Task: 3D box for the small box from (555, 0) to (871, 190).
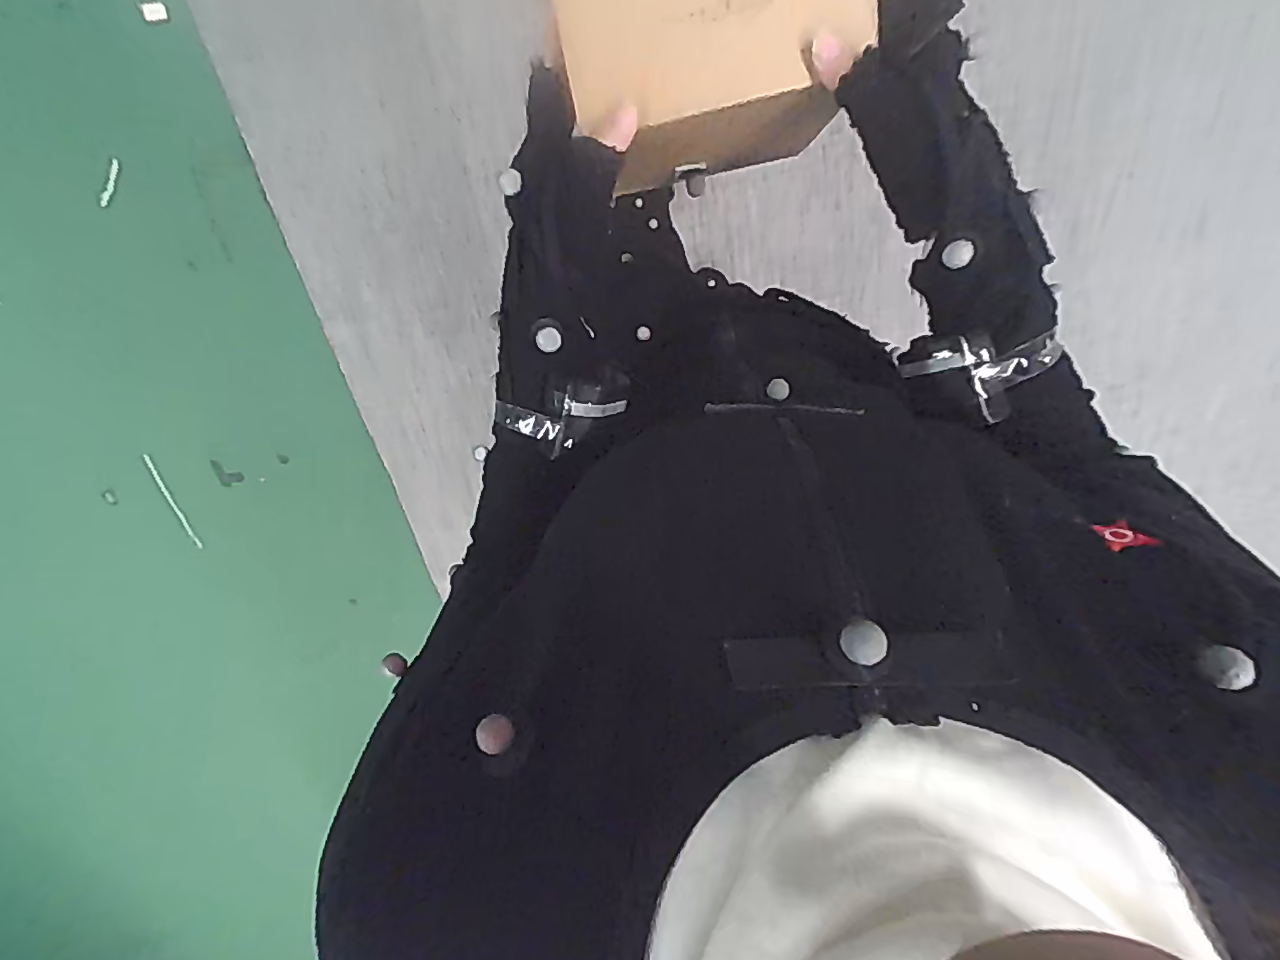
[{"bbox_3d":[0.031,-0.315,0.350,0.168,0.176,0.179,-10,106,5],"label":"small box"}]
